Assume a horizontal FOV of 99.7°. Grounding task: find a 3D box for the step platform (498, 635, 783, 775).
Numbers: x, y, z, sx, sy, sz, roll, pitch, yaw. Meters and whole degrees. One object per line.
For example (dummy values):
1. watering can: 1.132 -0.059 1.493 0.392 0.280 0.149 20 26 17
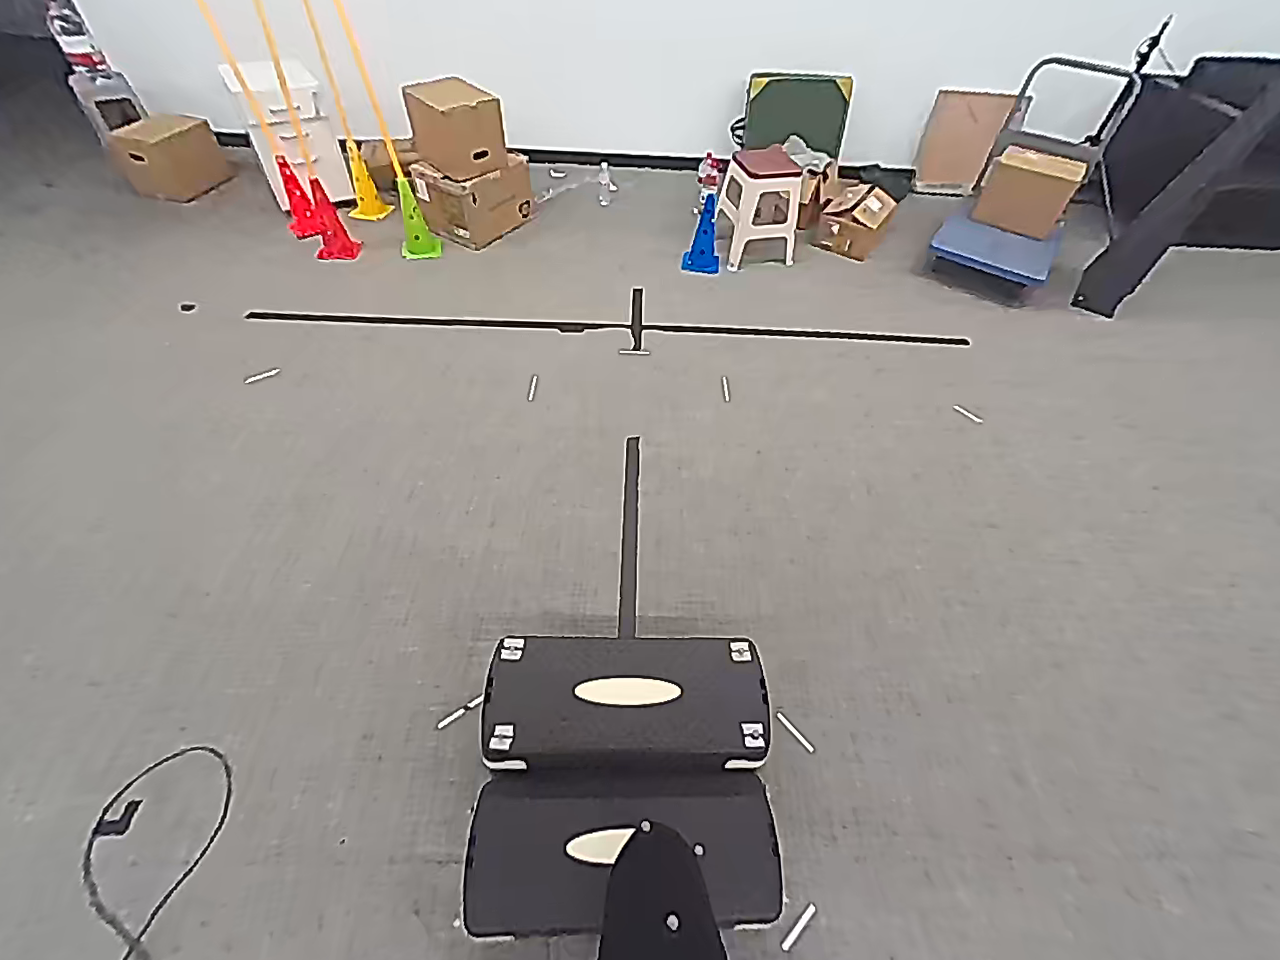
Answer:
1. step platform: 0.000 0.552 1.343 0.684 0.204 0.286 2 50 -4
